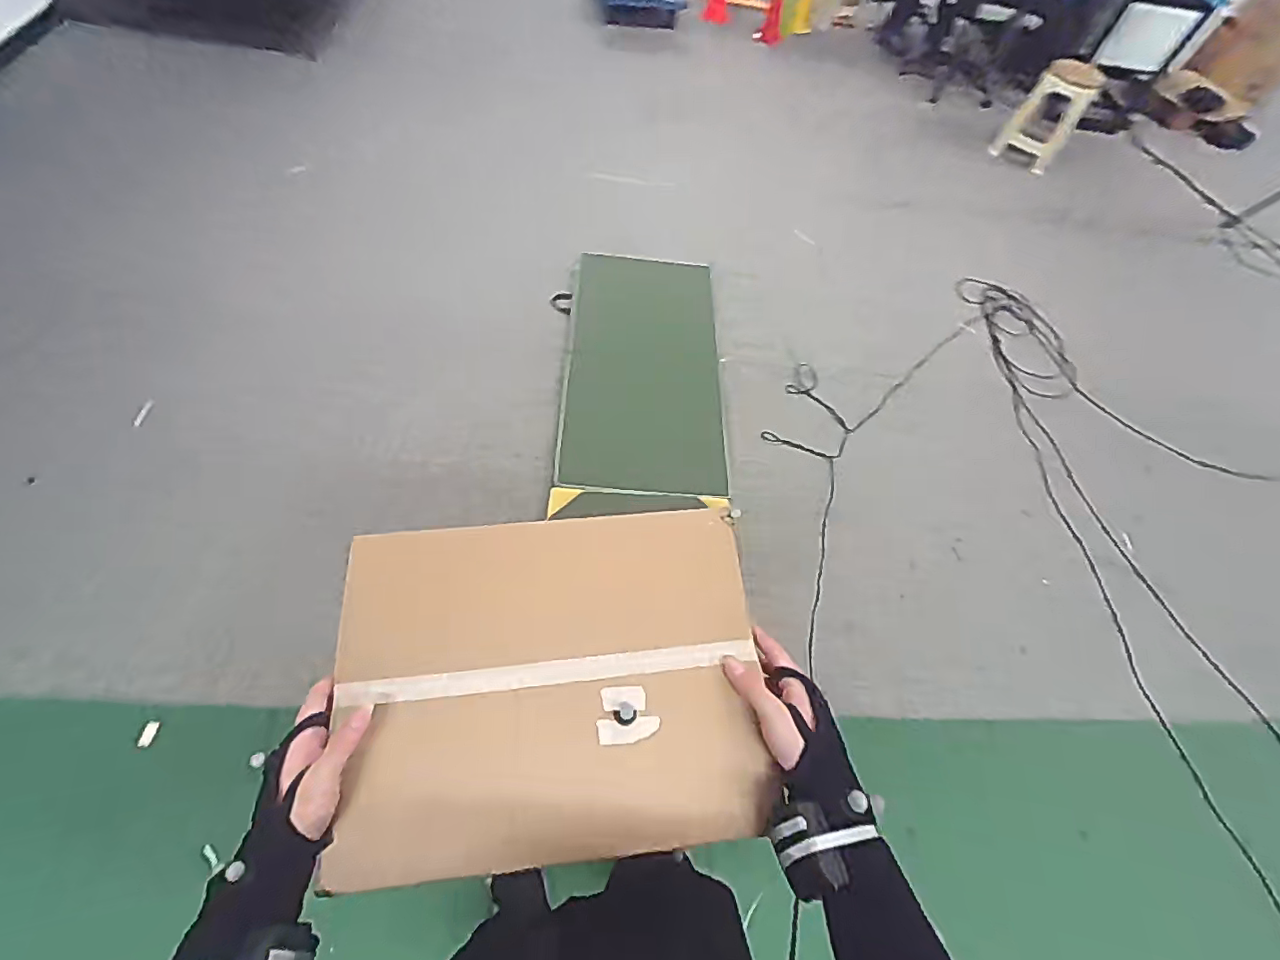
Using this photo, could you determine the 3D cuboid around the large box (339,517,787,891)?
[{"bbox_3d":[-0.087,0.259,0.671,0.408,0.320,0.320,-3,65,-6],"label":"large box"}]
